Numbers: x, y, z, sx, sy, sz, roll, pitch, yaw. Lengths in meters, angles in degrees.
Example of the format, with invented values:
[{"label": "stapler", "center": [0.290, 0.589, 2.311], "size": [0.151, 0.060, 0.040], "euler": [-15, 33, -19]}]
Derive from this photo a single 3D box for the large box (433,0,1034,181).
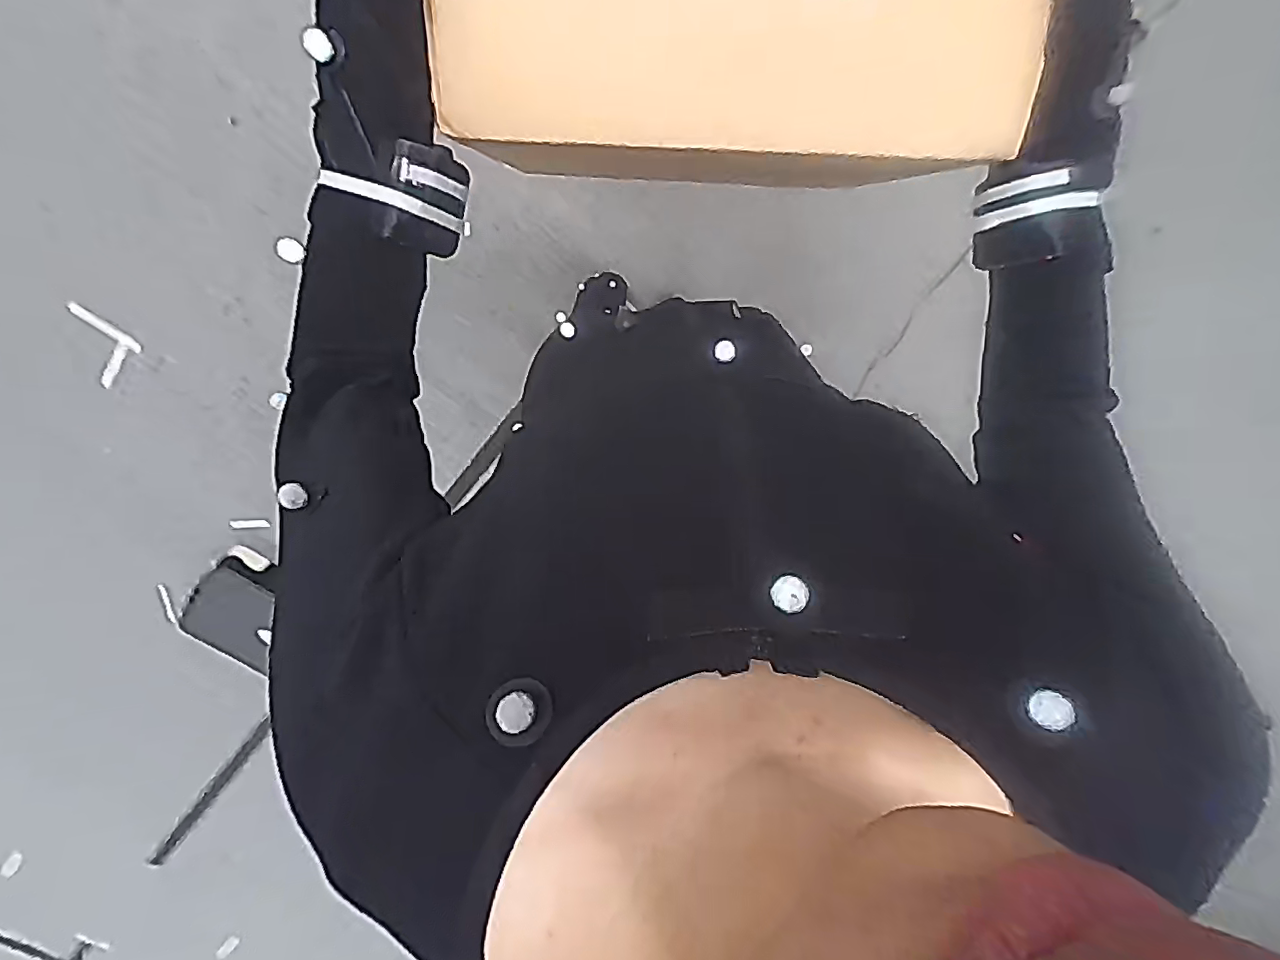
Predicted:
[{"label": "large box", "center": [0.058, -0.443, 0.457], "size": [0.408, 0.320, 0.320], "euler": [0, 115, -2]}]
